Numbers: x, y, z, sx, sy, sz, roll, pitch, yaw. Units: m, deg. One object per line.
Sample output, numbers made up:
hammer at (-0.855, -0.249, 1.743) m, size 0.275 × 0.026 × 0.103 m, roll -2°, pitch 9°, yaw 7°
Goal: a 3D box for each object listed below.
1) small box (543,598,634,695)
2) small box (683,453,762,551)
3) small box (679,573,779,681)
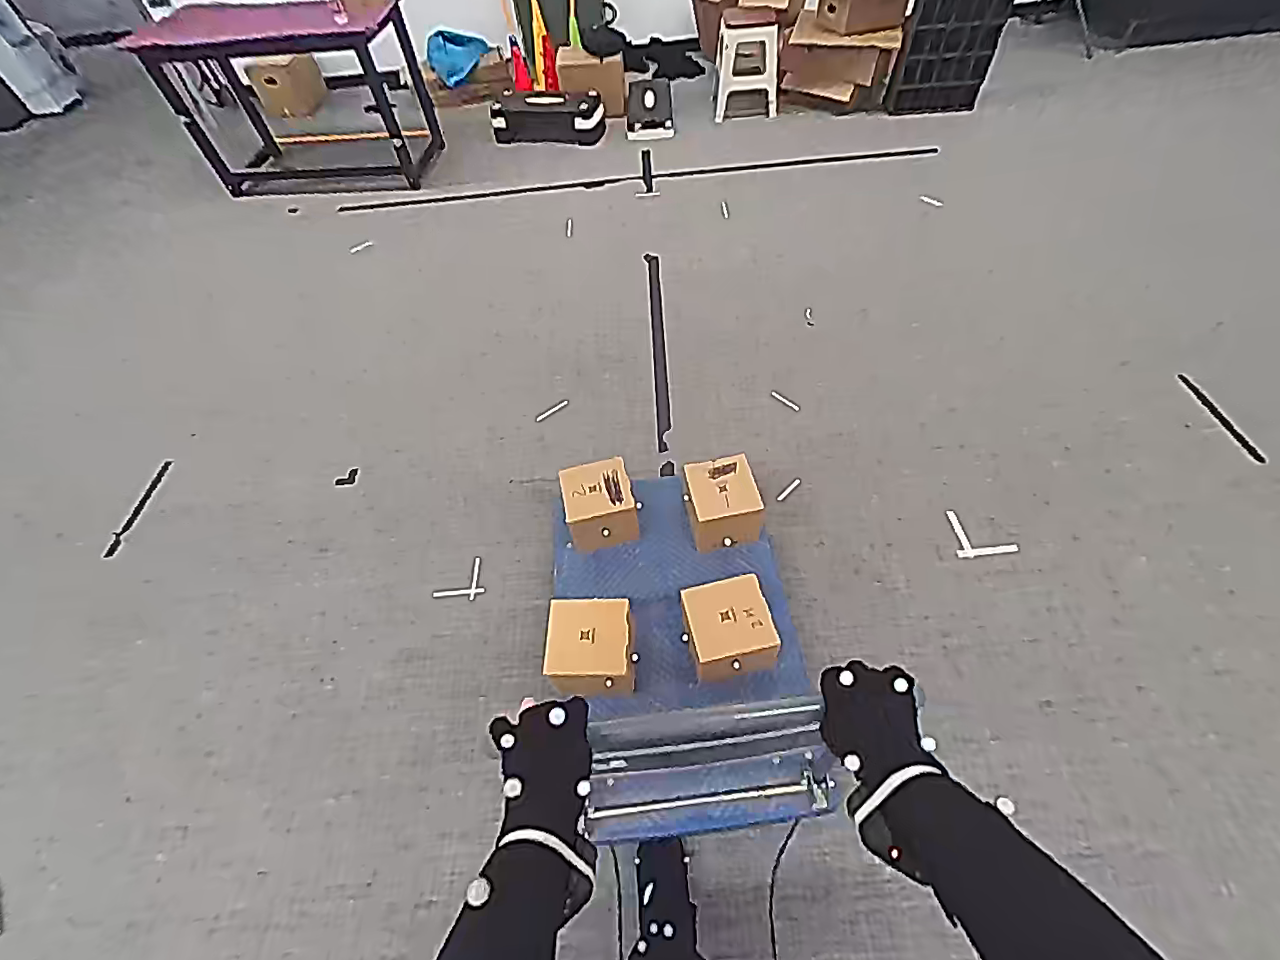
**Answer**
small box at (-0.108, 0.378, 1.213) m, size 0.179 × 0.176 × 0.168 m, roll -2°, pitch 54°, yaw 3°
small box at (0.207, 0.060, 1.409) m, size 0.168 × 0.176 × 0.179 m, roll -11°, pitch 55°, yaw -2°
small box at (0.194, 0.335, 1.212) m, size 0.179 × 0.176 × 0.168 m, roll -13°, pitch 54°, yaw -3°
